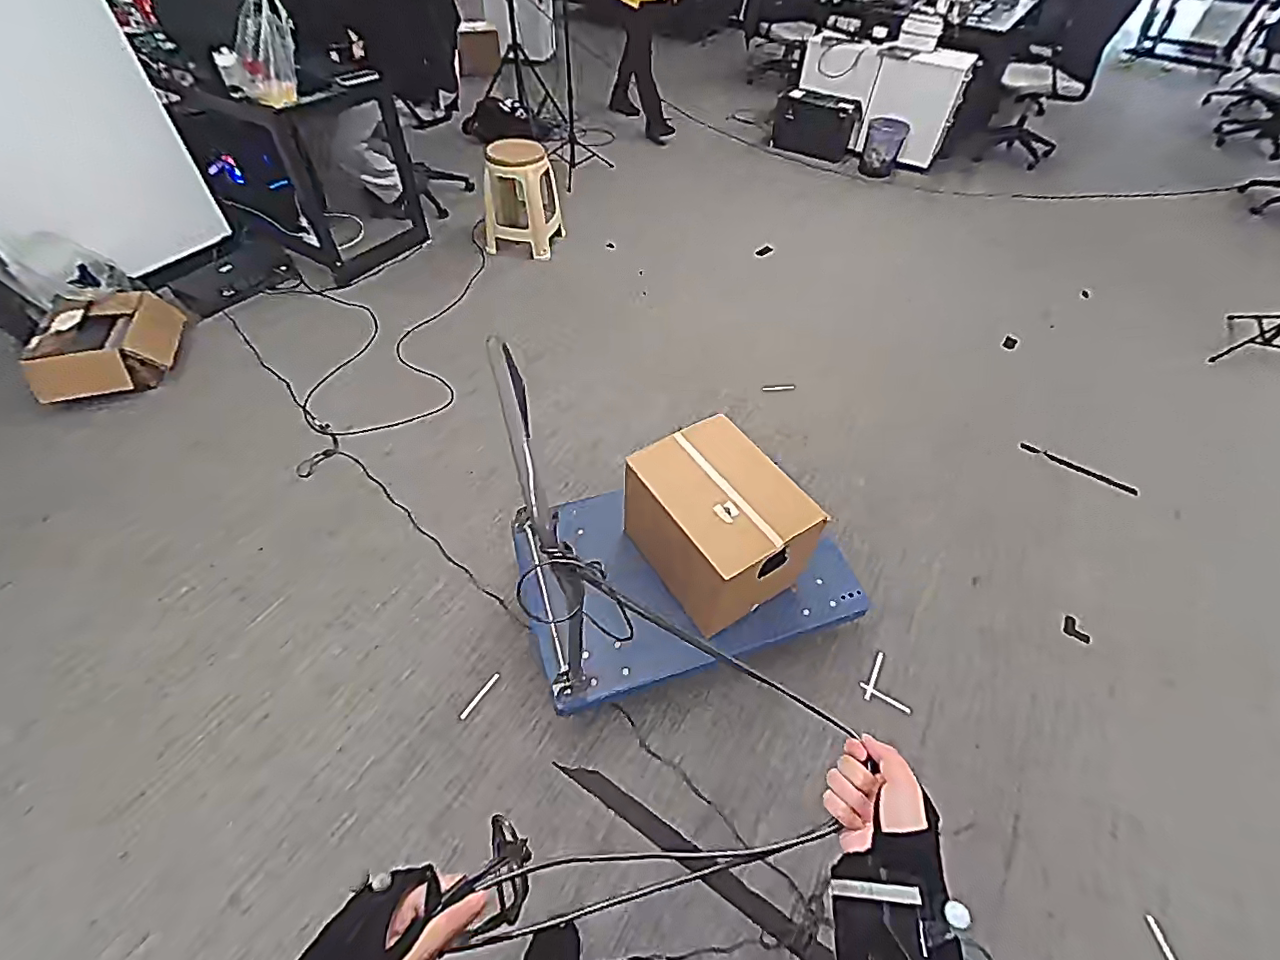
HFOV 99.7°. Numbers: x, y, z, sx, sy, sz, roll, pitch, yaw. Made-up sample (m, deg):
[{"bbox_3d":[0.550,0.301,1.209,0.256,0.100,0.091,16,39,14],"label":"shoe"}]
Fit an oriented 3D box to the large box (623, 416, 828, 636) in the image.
[{"bbox_3d":[0.191,0.113,1.397,0.320,0.320,0.408,-27,58,-21],"label":"large box"}]
